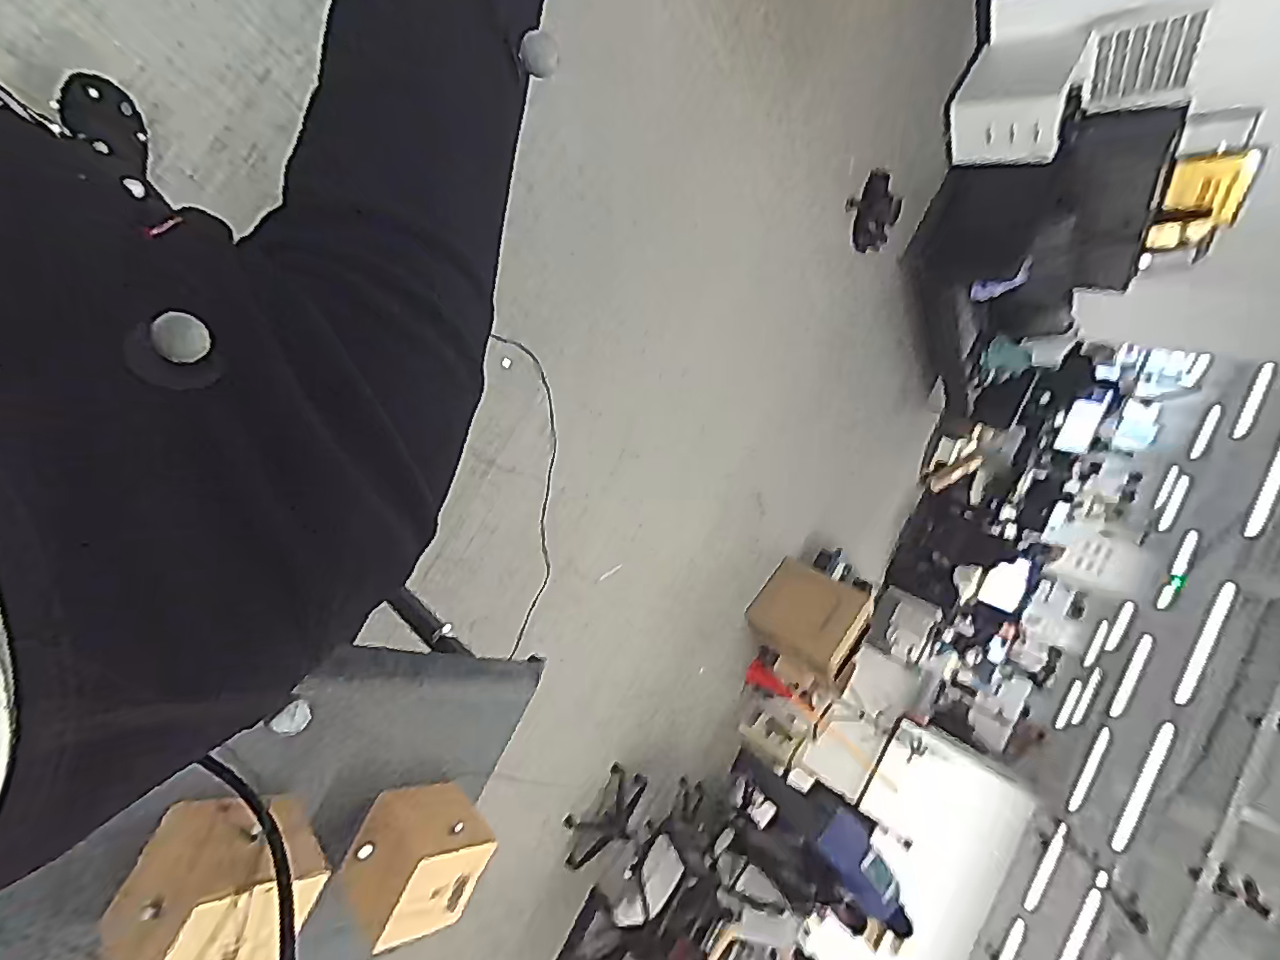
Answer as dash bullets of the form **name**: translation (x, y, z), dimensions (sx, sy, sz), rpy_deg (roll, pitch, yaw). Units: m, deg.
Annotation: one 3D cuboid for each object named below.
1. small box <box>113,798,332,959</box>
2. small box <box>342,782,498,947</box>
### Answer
- **small box**: translation (-0.573, 0.567, 0.741), dimensions (0.168, 0.176, 0.179), rpy_deg (35, 81, -52)
- **small box**: translation (-0.406, 0.689, 0.999), dimensions (0.179, 0.176, 0.168), rpy_deg (31, 85, -51)
